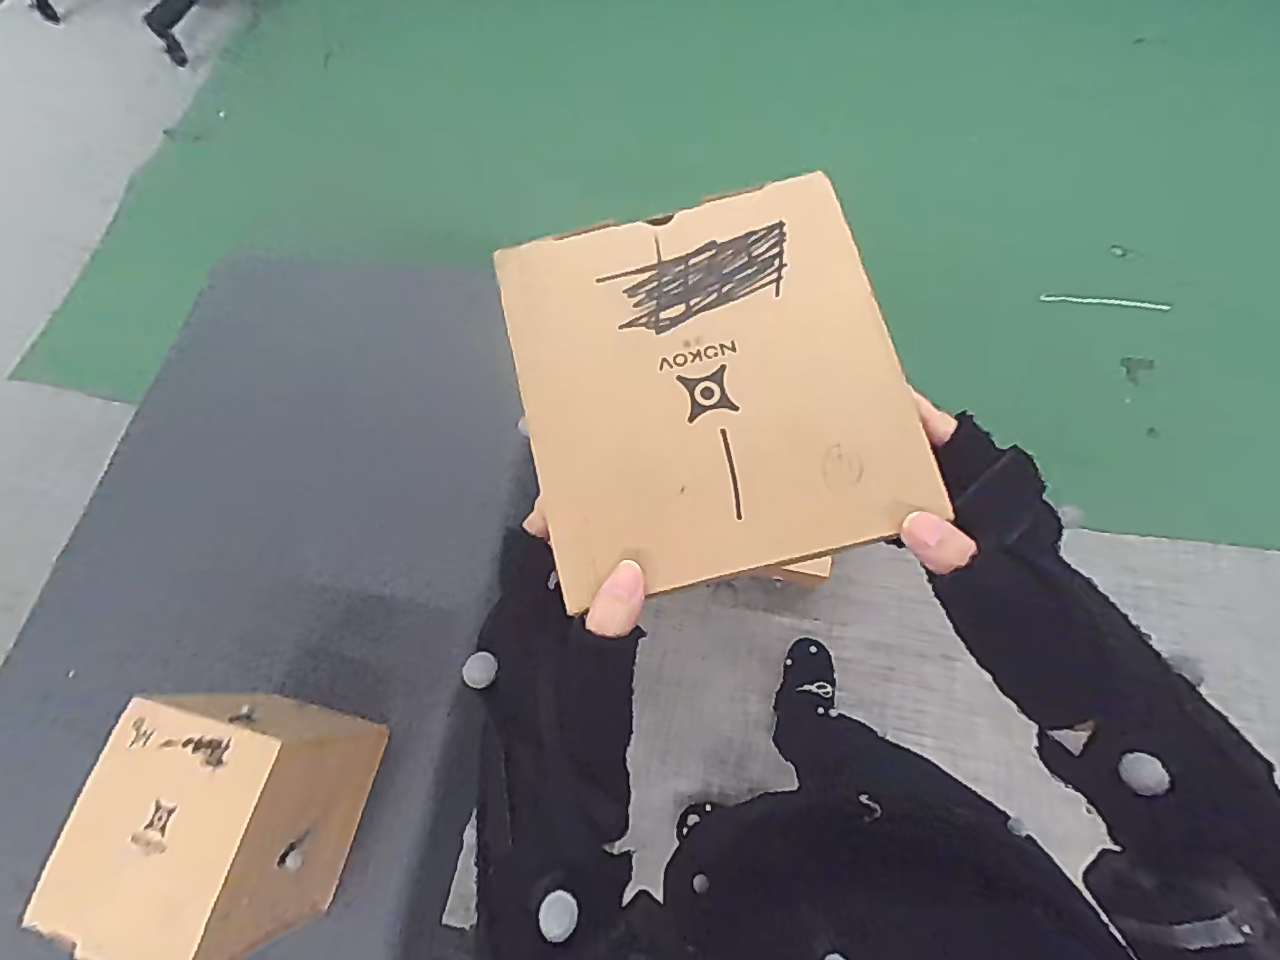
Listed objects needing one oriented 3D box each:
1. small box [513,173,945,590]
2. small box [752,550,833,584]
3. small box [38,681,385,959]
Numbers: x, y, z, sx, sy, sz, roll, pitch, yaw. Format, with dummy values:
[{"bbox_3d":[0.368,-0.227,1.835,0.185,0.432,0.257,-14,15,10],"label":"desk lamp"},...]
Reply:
[{"bbox_3d":[0.037,-0.035,0.322,0.168,0.176,0.179,-12,79,1],"label":"small box"},{"bbox_3d":[0.359,0.135,1.275,0.168,0.176,0.179,10,73,12],"label":"small box"},{"bbox_3d":[-0.386,0.305,0.526,0.168,0.176,0.179,10,72,12],"label":"small box"}]
